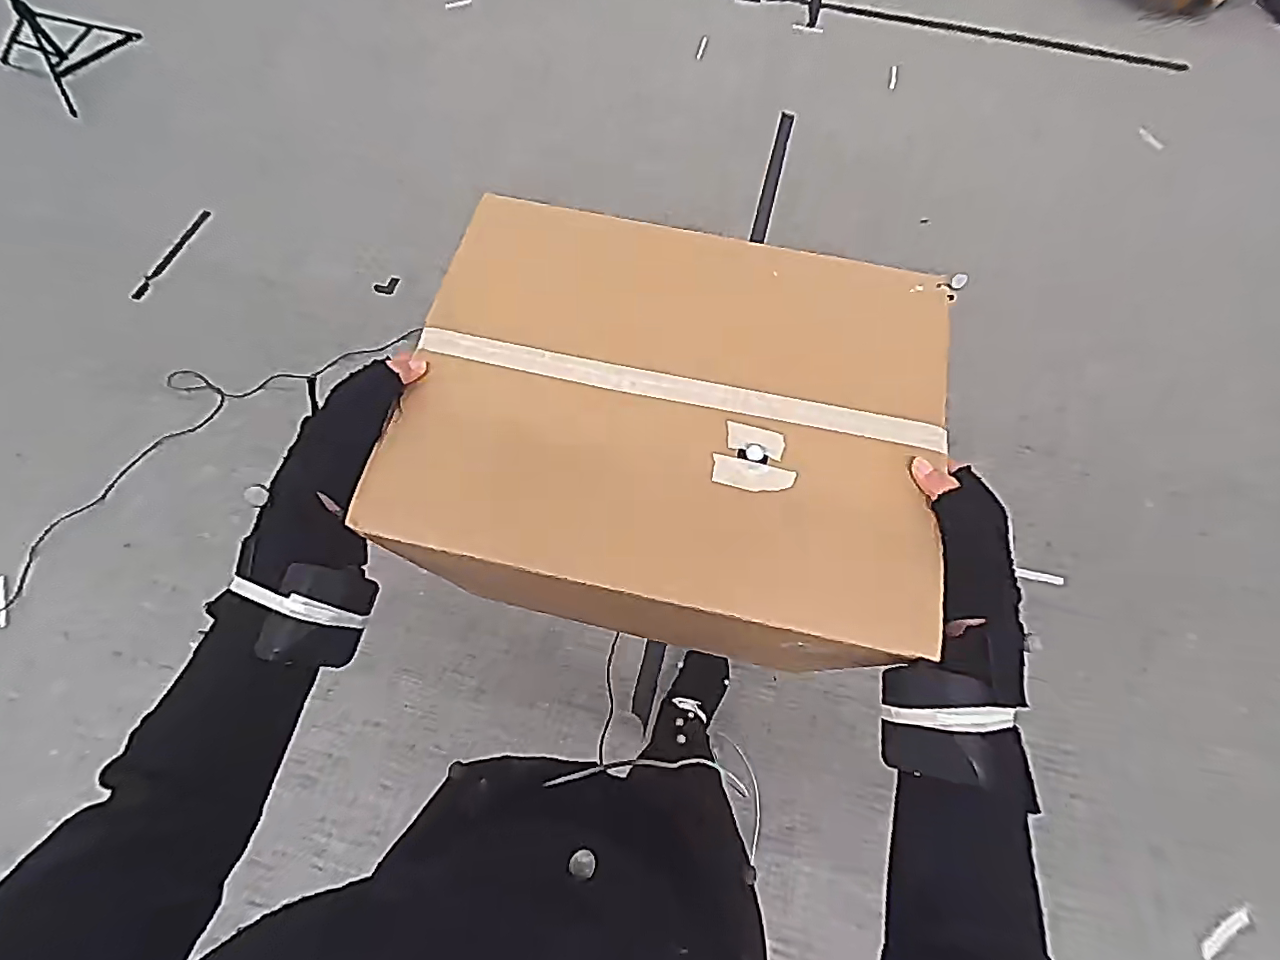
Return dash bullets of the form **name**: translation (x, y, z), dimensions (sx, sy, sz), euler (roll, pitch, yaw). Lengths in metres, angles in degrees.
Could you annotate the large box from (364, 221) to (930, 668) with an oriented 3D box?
- **large box**: translation (0.021, -0.006, 0.564), dimensions (0.408, 0.320, 0.320), euler (12, 70, 3)
